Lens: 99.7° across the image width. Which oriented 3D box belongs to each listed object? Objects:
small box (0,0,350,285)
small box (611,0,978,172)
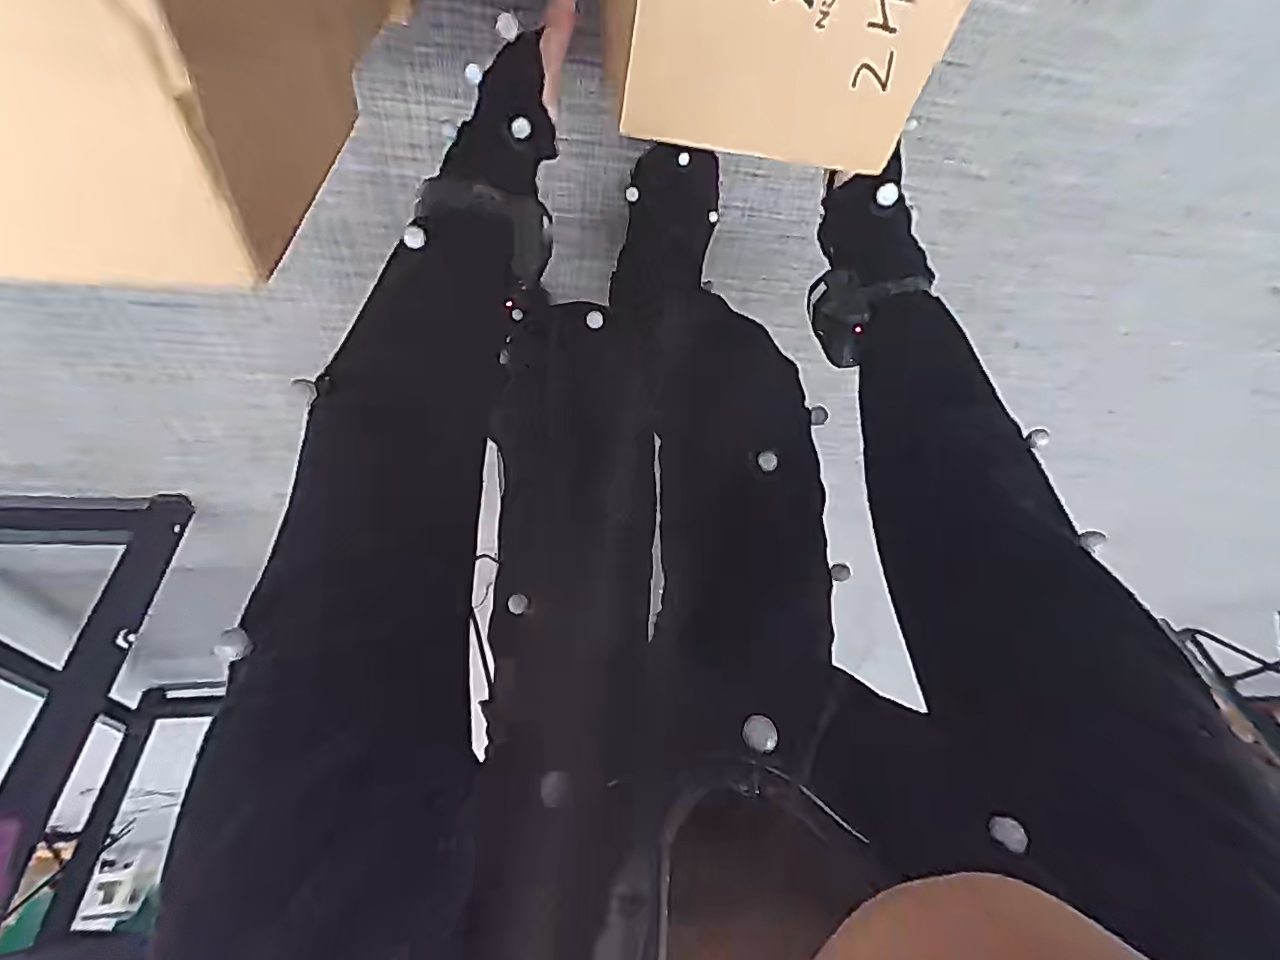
[{"bbox_3d":[-0.209,-0.183,0.165,0.179,0.176,0.168,0,141,-10],"label":"small box"},{"bbox_3d":[0.082,-0.314,0.314,0.179,0.176,0.168,1,144,-13],"label":"small box"}]
